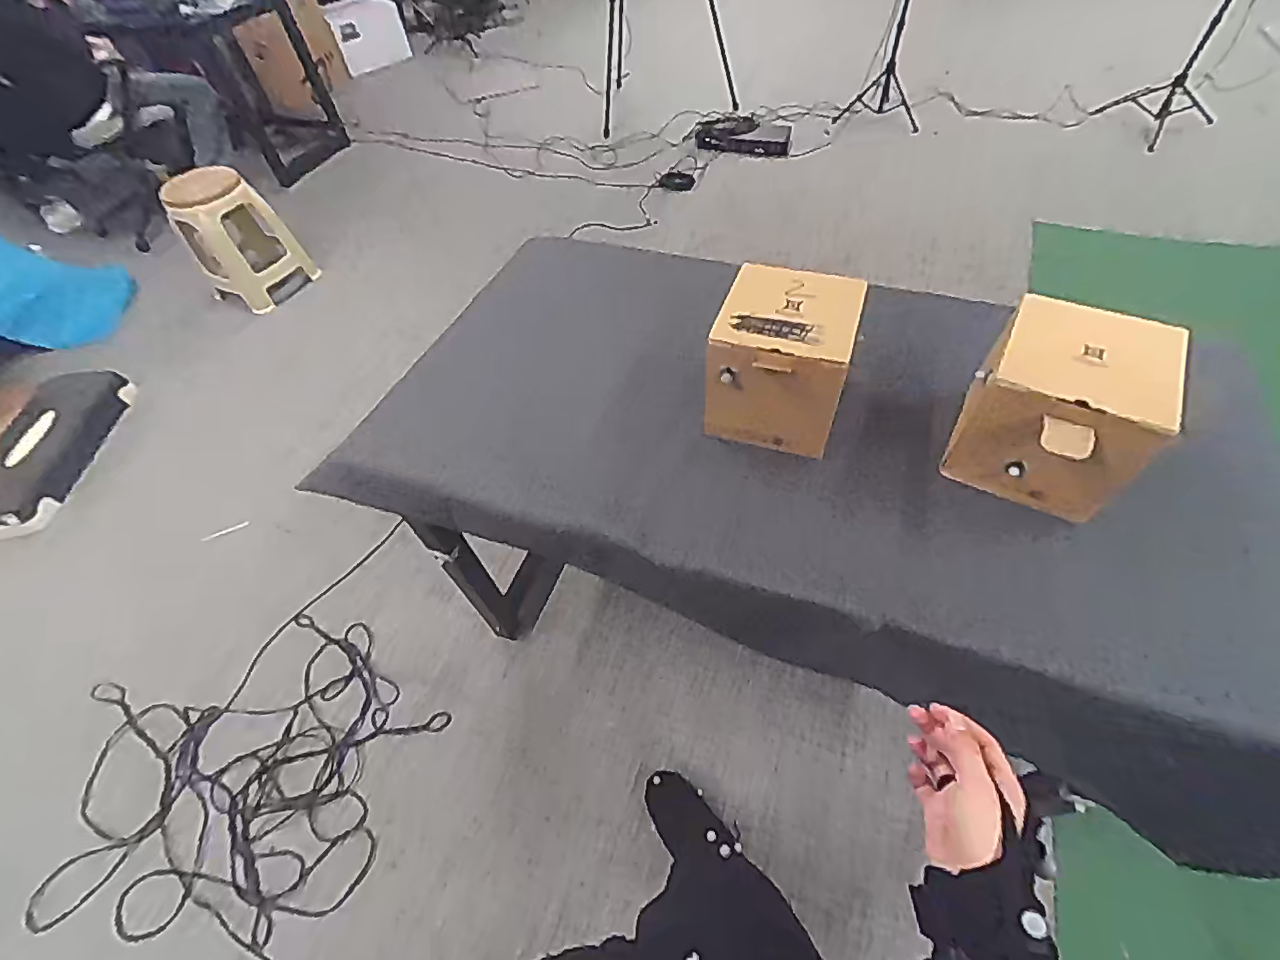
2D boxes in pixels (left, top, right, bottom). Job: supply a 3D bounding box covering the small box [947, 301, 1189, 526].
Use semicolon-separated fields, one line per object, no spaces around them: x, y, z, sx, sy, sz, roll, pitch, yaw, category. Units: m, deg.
0.500;-0.078;0.651;0.168;0.176;0.179;24;59;22;small box
